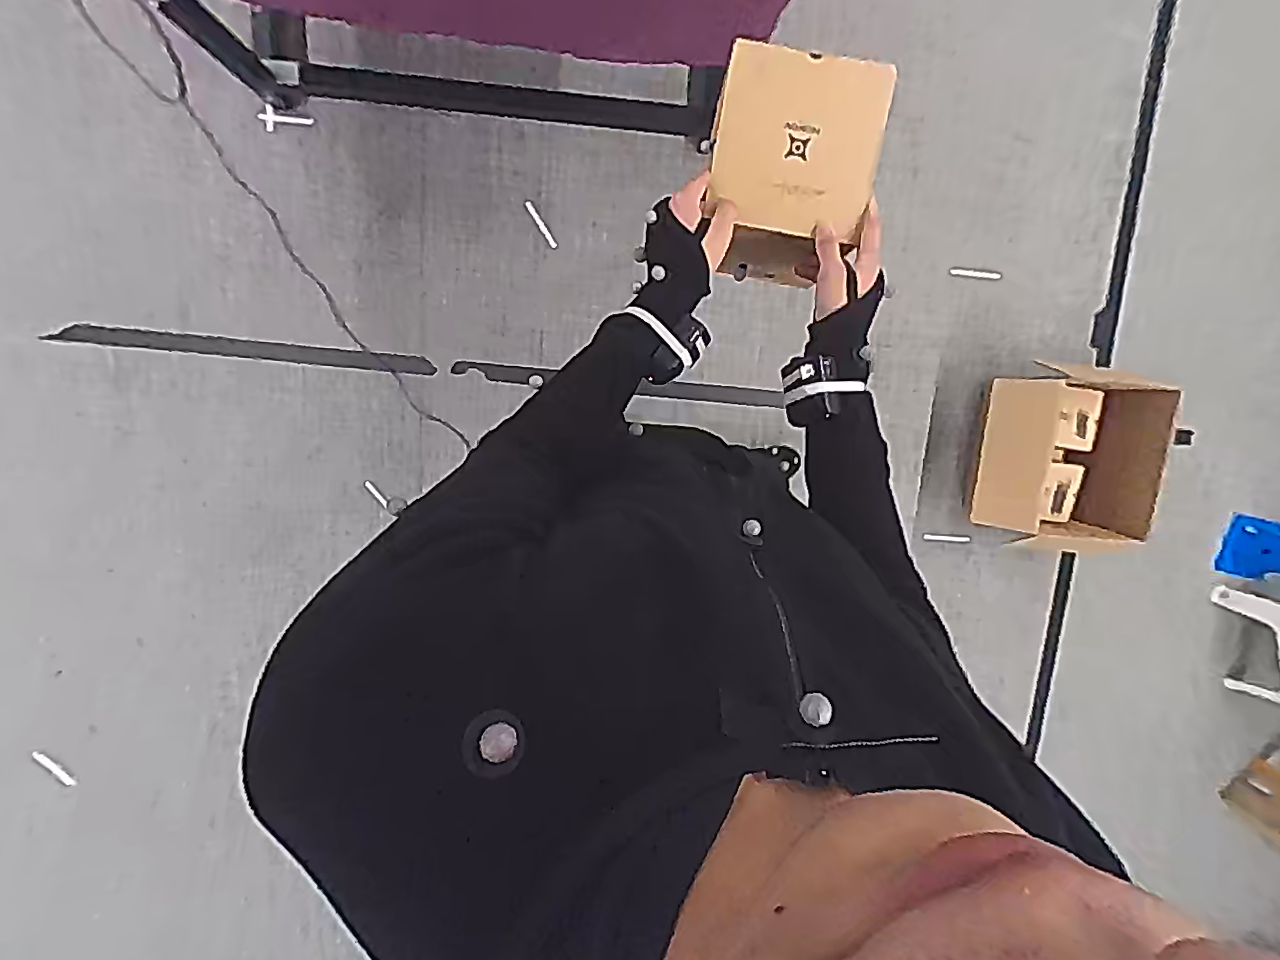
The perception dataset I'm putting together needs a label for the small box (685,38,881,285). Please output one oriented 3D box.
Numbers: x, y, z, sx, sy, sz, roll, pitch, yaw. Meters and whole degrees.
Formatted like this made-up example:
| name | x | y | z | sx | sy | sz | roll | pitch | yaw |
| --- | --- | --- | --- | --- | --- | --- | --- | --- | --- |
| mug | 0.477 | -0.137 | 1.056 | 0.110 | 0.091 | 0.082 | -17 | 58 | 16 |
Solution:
| name | x | y | z | sx | sy | sz | roll | pitch | yaw |
| --- | --- | --- | --- | --- | --- | --- | --- | --- | --- |
| small box | 0.148 | -0.347 | 0.622 | 0.168 | 0.176 | 0.179 | 9 | 95 | 0 |
